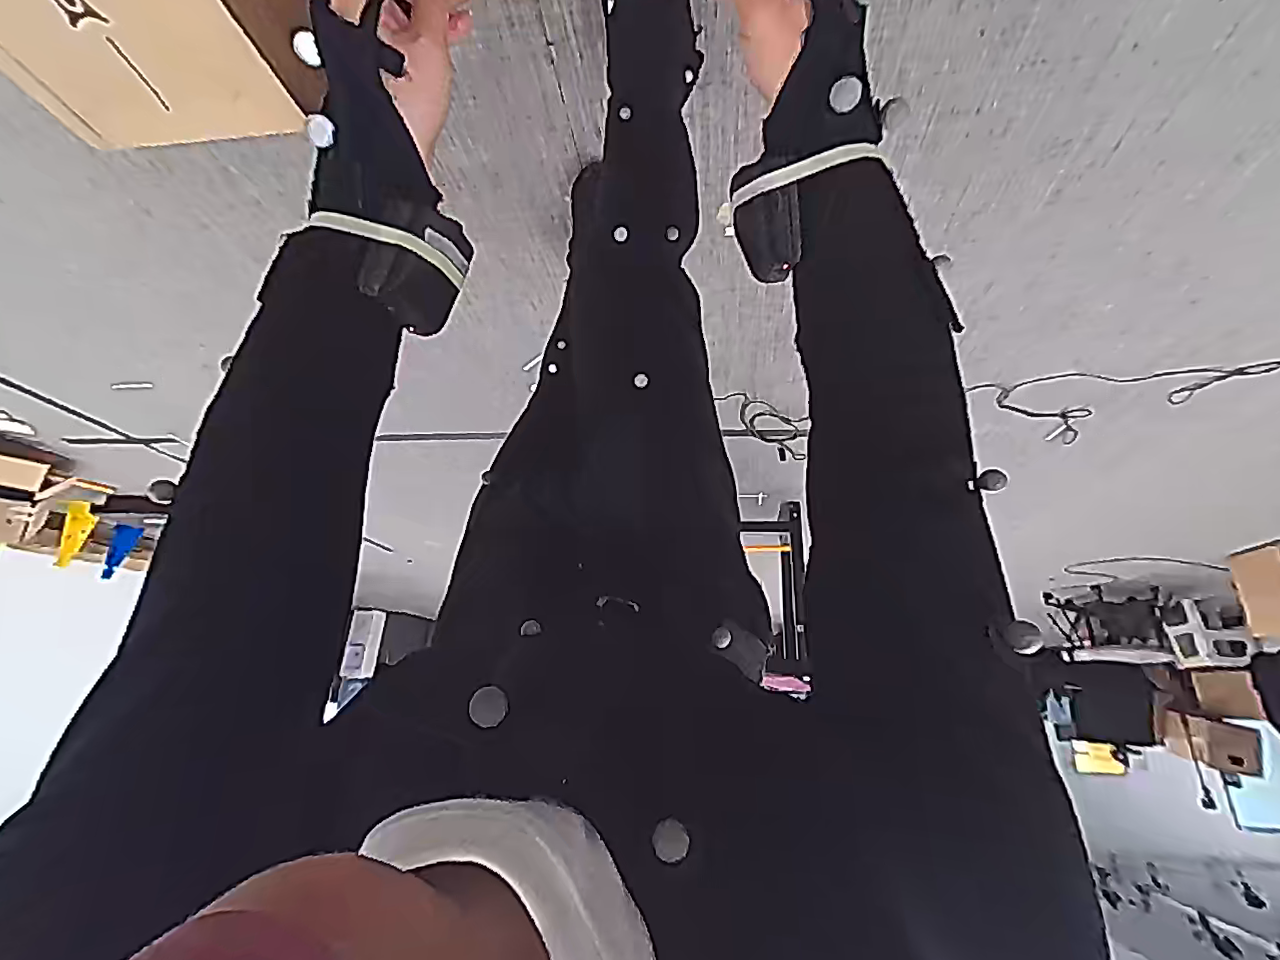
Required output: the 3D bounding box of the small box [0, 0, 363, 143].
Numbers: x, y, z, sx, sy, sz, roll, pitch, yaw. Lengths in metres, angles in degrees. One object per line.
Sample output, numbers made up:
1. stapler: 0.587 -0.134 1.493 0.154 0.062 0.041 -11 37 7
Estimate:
1. small box: -0.287 -0.331 0.301 0.168 0.176 0.179 0 158 7
